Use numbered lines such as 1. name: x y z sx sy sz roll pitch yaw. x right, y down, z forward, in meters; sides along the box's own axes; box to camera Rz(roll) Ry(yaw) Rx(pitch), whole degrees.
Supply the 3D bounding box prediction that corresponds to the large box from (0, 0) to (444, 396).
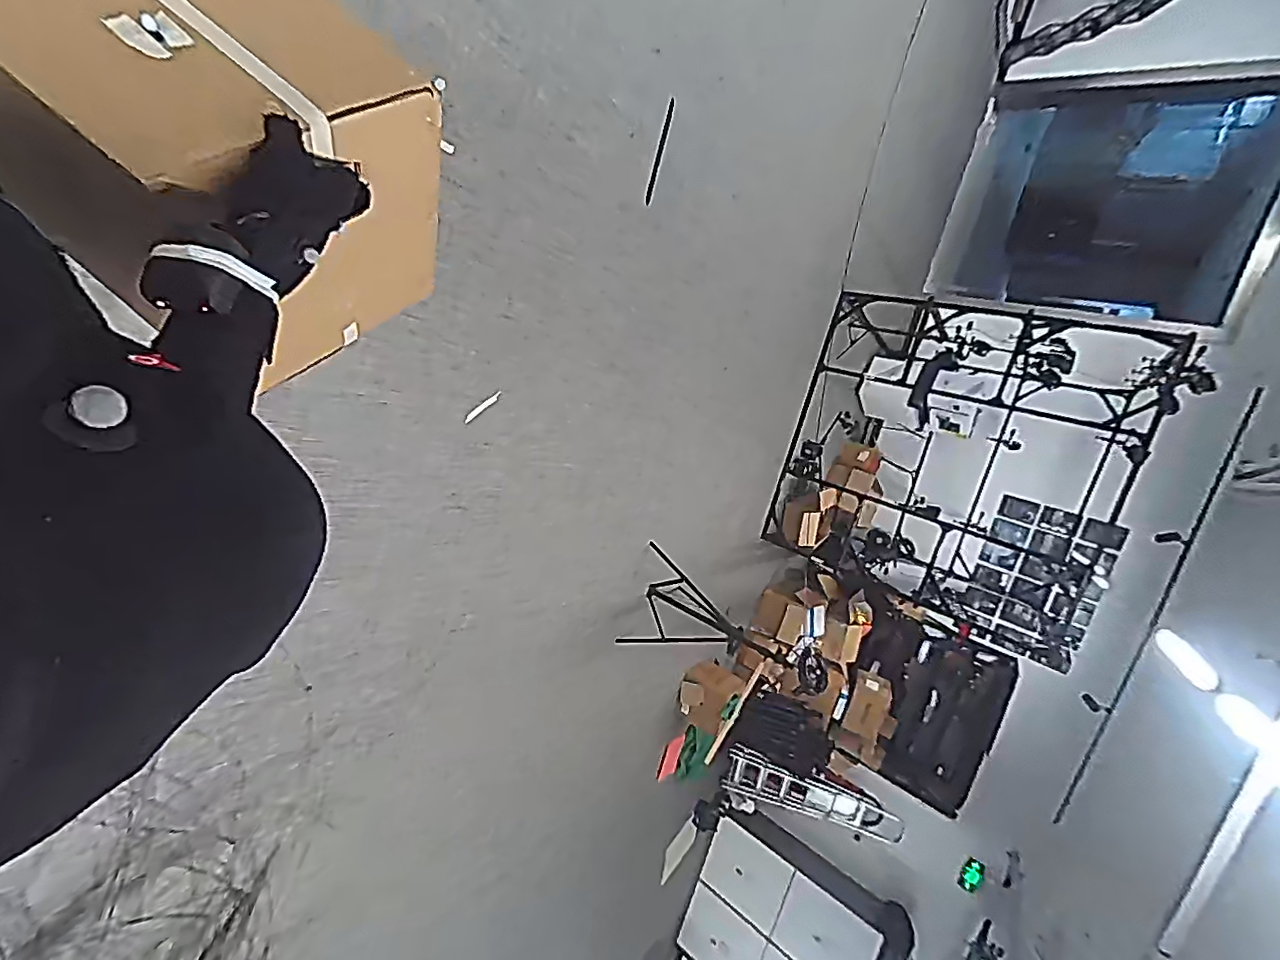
1. large box: -0.500 -0.382 0.628 0.320 0.408 0.320 -51 -179 -33
